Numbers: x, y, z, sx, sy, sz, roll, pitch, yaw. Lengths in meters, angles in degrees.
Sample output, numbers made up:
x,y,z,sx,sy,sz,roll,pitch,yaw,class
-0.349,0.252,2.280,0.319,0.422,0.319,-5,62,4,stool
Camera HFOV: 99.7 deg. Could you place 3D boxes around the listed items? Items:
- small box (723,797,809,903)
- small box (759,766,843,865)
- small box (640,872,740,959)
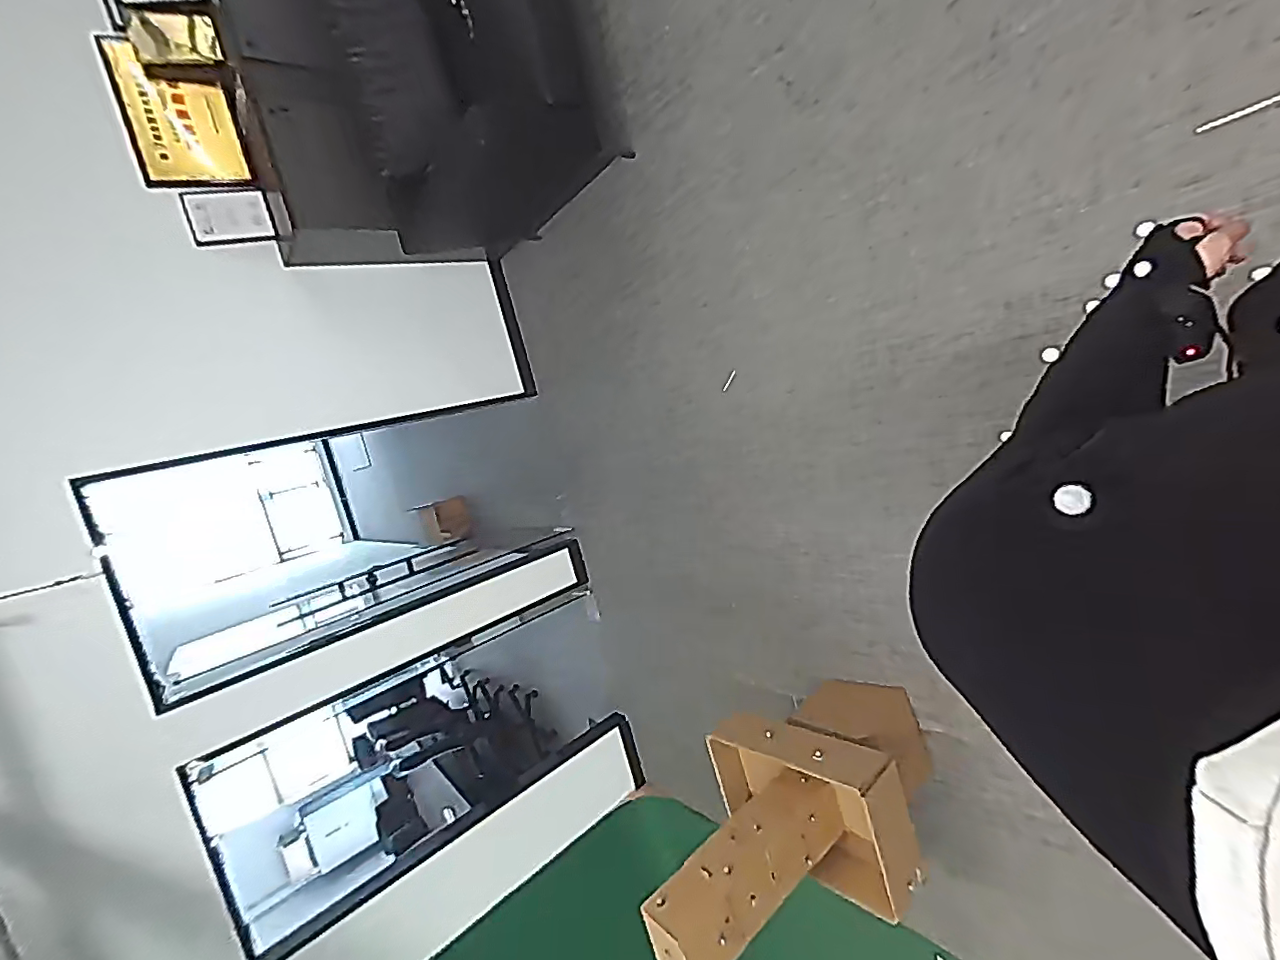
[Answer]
x,y,z,sx,sy,sz,roll,pitch,yaw,class
0.384,1.094,1.618,0.179,0.176,0.168,-11,96,55,small box
0.513,1.052,1.710,0.168,0.176,0.179,-13,95,54,small box
0.132,1.190,1.428,0.179,0.176,0.168,-14,95,54,small box
